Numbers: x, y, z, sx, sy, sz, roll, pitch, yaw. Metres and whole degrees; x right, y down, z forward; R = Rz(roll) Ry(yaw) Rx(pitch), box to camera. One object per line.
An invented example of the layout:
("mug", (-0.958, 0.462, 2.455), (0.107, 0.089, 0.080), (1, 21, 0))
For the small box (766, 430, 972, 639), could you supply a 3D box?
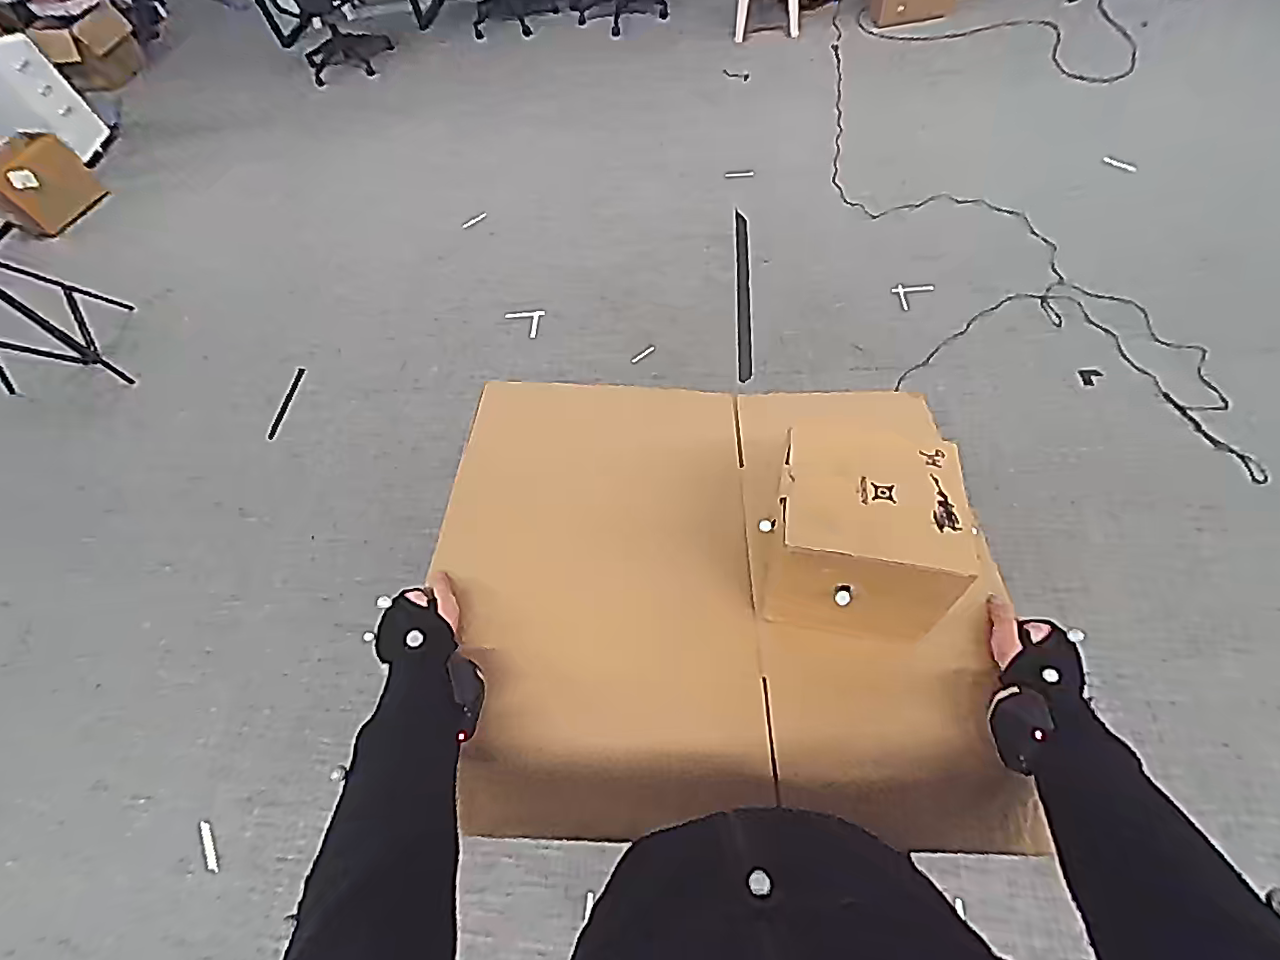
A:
("small box", (0.243, 0.065, 0.618), (0.179, 0.176, 0.168), (7, 53, 11))
